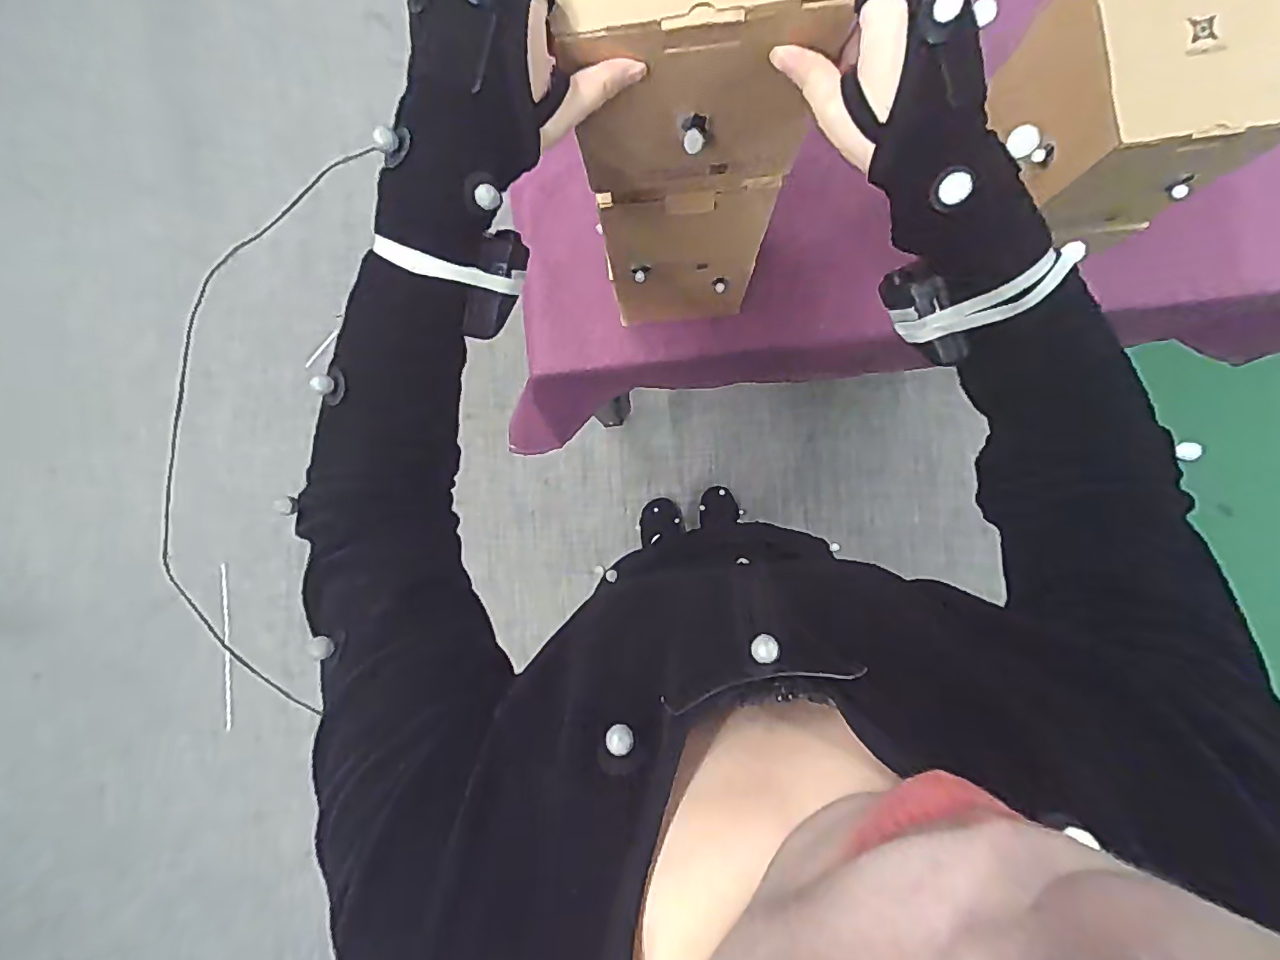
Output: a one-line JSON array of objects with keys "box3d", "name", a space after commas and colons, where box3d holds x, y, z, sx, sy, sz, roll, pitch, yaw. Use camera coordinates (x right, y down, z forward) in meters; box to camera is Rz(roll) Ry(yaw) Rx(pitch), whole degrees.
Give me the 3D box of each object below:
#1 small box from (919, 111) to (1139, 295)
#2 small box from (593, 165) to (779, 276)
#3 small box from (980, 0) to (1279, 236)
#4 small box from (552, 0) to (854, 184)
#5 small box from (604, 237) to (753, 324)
[{"box3d": [0.484, -0.353, 0.705, 0.179, 0.176, 0.168, -3, 88, 3], "name": "small box"}, {"box3d": [0.040, -0.329, 0.563, 0.168, 0.176, 0.179, -5, 86, 2], "name": "small box"}, {"box3d": [0.477, -0.365, 0.542, 0.168, 0.176, 0.179, -6, 87, 2], "name": "small box"}, {"box3d": [0.034, -0.327, 0.371, 0.168, 0.176, 0.179, -4, 92, 3], "name": "small box"}, {"box3d": [0.046, -0.320, 0.727, 0.179, 0.176, 0.168, -5, 87, 2], "name": "small box"}]
